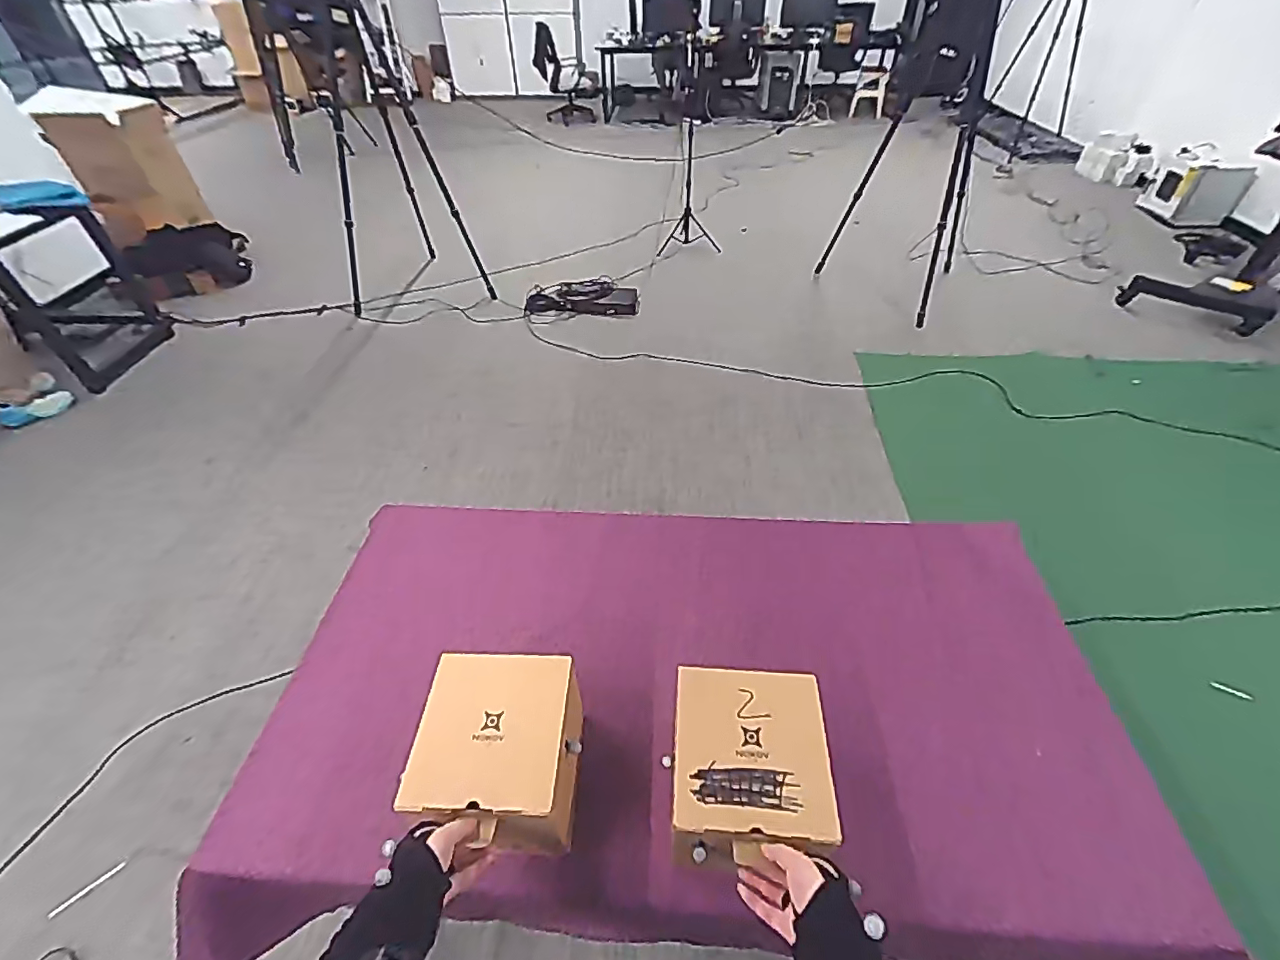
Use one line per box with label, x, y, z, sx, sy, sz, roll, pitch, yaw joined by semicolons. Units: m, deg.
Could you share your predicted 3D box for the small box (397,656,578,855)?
small box;-0.173;0.345;0.681;0.168;0.176;0.179;1;44;2
